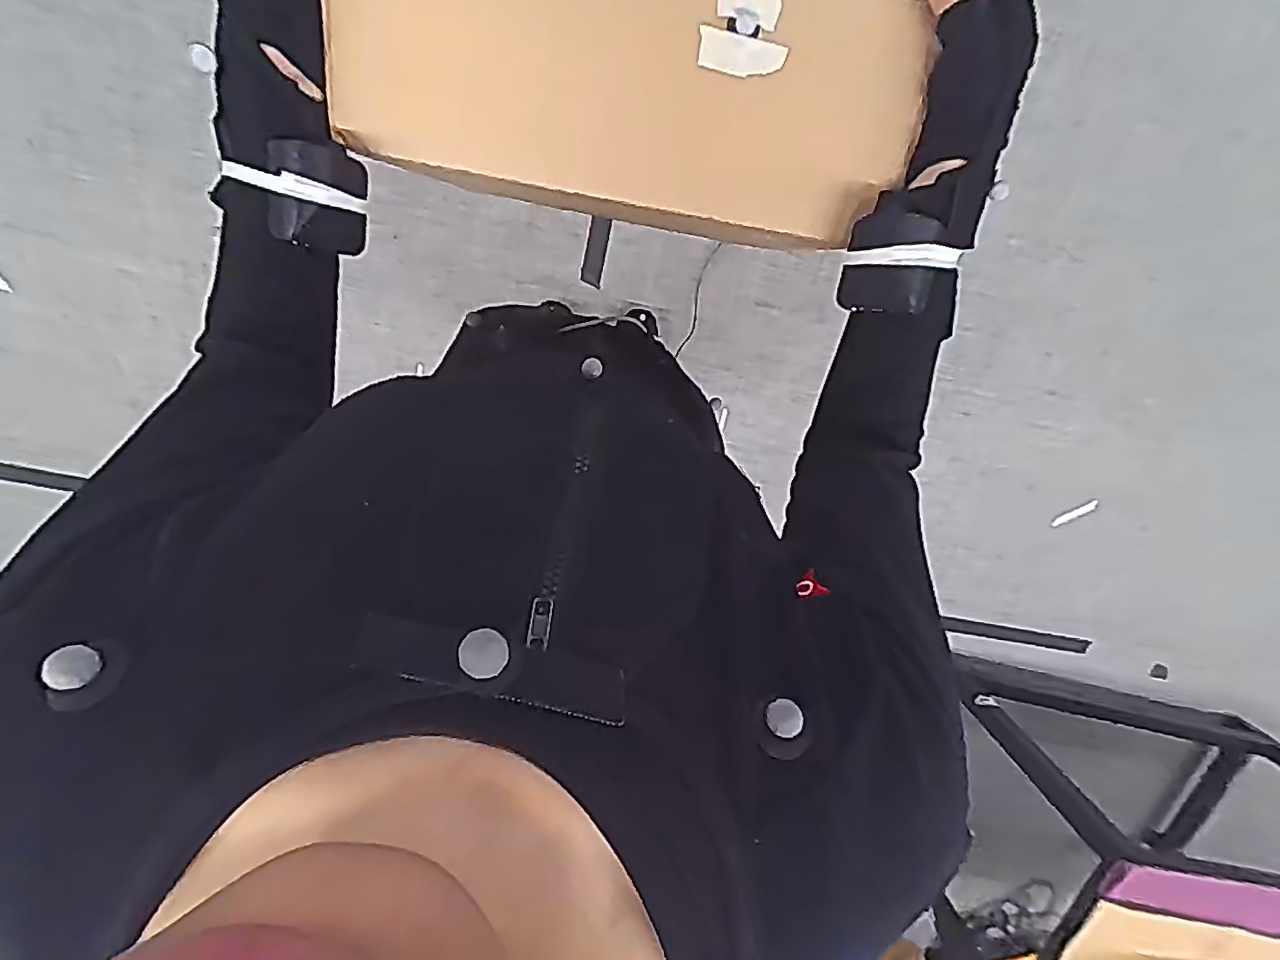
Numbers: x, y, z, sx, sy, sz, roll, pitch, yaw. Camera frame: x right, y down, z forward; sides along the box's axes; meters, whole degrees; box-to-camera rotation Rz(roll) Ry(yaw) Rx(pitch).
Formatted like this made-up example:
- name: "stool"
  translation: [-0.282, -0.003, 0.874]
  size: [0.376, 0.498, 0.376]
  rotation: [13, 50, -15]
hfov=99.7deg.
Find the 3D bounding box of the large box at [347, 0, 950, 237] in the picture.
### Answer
- name: "large box"
  translation: [0.008, -0.414, 0.478]
  size: [0.408, 0.320, 0.320]
  rotation: [8, 114, -6]
